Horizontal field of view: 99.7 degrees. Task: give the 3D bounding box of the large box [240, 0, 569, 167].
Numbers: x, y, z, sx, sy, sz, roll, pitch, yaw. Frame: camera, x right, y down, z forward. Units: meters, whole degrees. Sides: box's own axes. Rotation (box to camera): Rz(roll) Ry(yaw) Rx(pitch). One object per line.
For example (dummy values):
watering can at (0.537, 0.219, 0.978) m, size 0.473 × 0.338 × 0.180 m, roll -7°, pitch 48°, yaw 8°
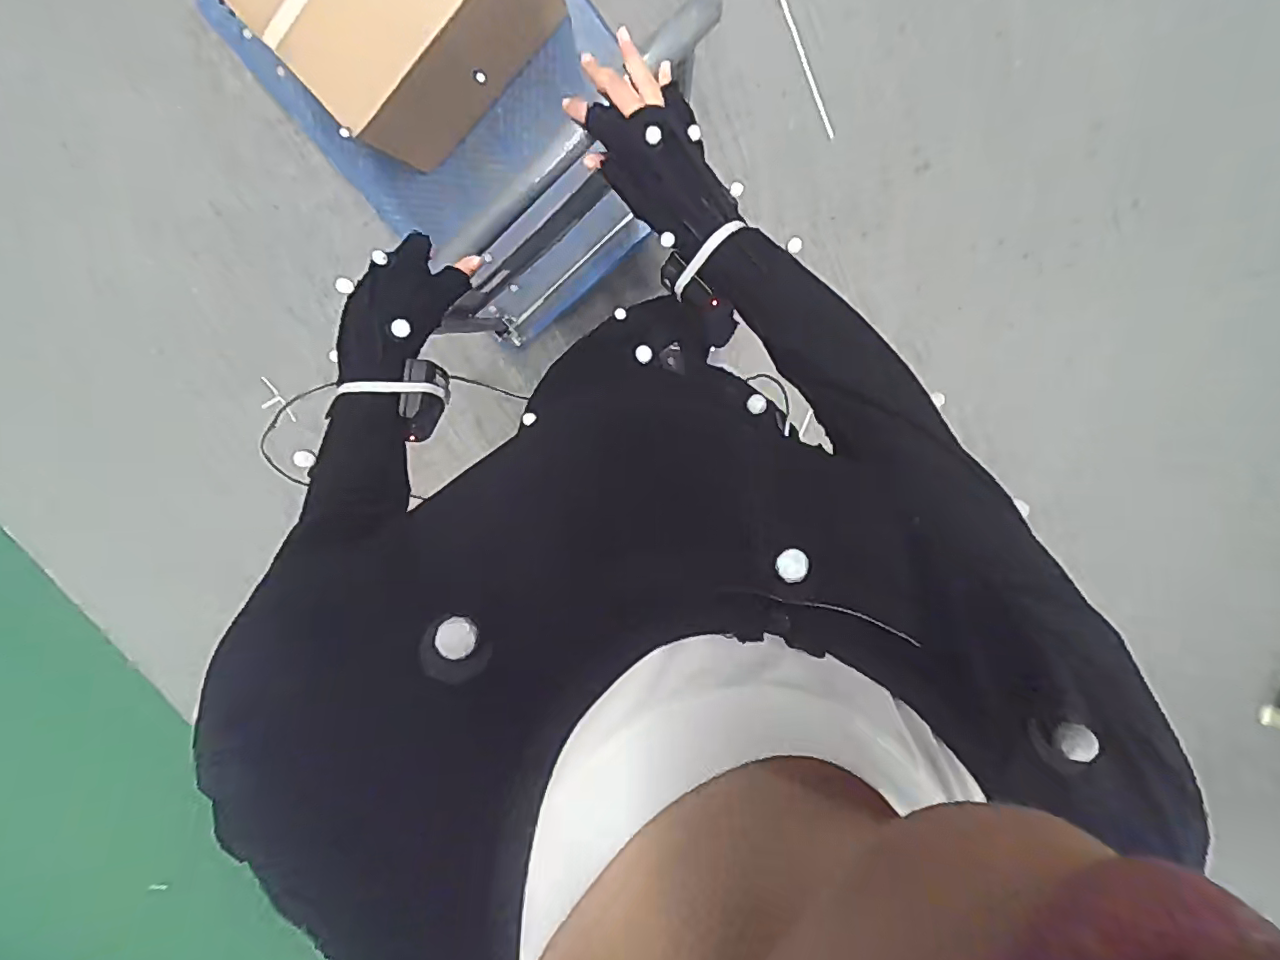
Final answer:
large box at (-0.374, -0.813, 0.883) m, size 0.408 × 0.320 × 0.320 m, roll -40°, pitch 104°, yaw 14°
